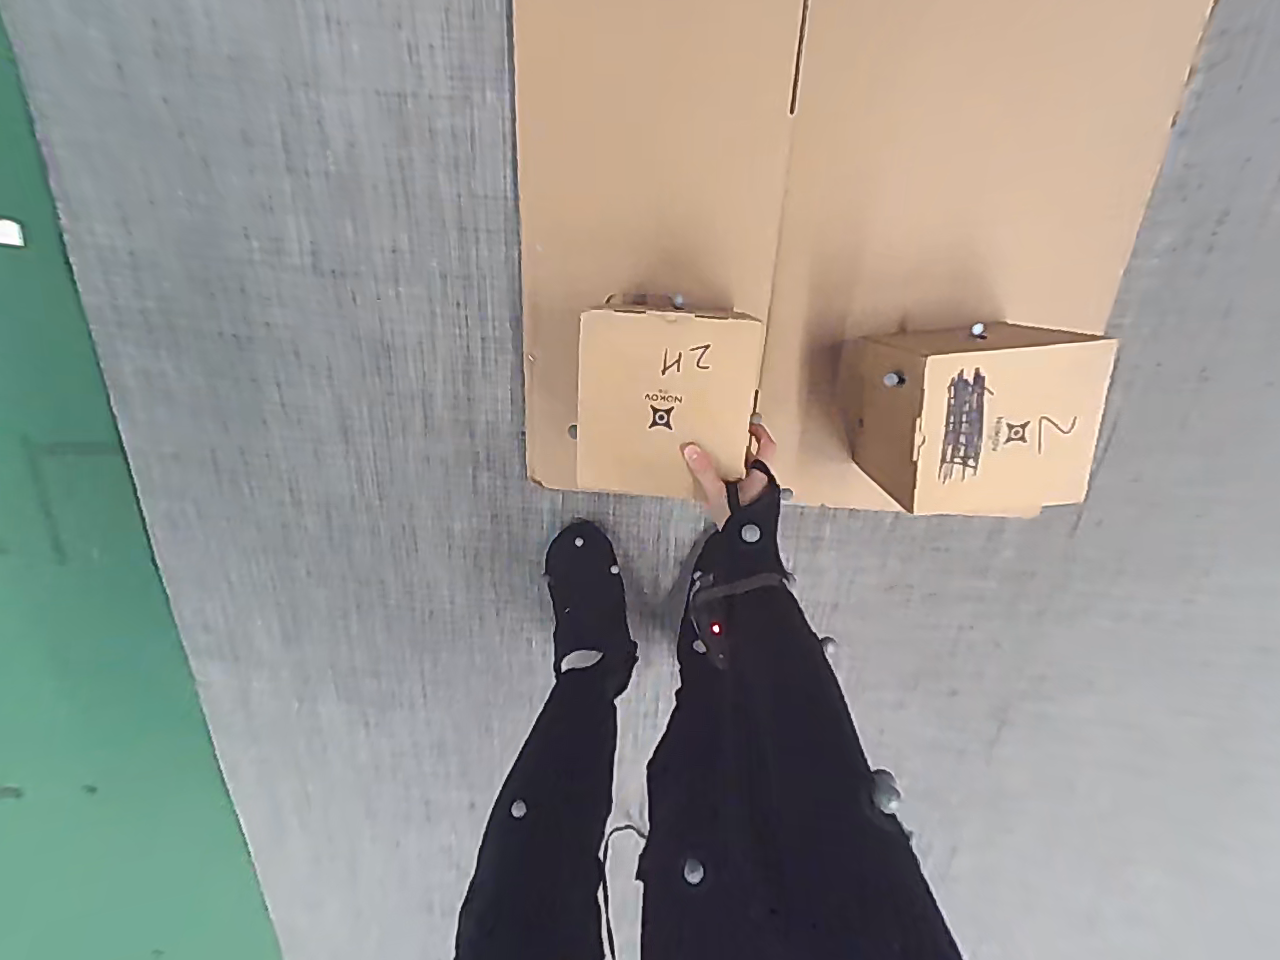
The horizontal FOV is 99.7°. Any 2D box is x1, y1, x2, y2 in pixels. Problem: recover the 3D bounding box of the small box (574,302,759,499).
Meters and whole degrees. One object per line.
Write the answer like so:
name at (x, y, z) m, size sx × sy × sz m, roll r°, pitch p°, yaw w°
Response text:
small box at (0.029, -0.096, 0.589) m, size 0.168 × 0.176 × 0.179 m, roll 6°, pitch 108°, yaw 4°
